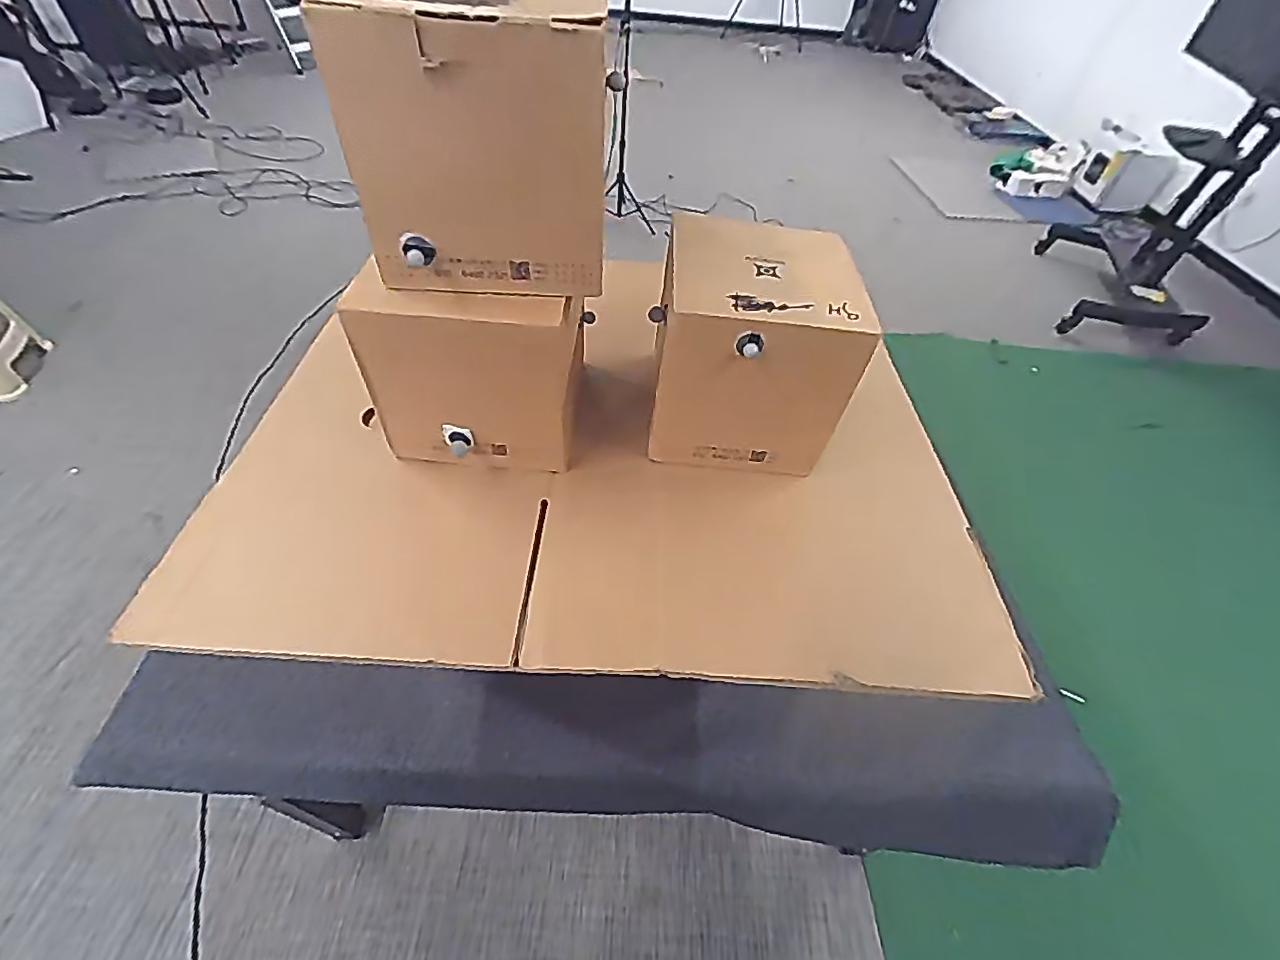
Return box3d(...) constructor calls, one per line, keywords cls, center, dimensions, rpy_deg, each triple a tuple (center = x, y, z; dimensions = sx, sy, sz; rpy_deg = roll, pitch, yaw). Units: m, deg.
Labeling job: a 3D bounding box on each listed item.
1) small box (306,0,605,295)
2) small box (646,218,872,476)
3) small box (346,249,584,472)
box3d(cls="small box", center=(-0.112, -0.261, 0.417), dimensions=(0.168, 0.176, 0.179), rpy_deg=(1, 48, -4))
box3d(cls="small box", center=(0.098, -0.129, 0.534), dimensions=(0.168, 0.176, 0.179), rpy_deg=(6, 48, -2))
box3d(cls="small box", center=(-0.143, -0.131, 0.520), dimensions=(0.168, 0.176, 0.179), rpy_deg=(3, 51, -2))
